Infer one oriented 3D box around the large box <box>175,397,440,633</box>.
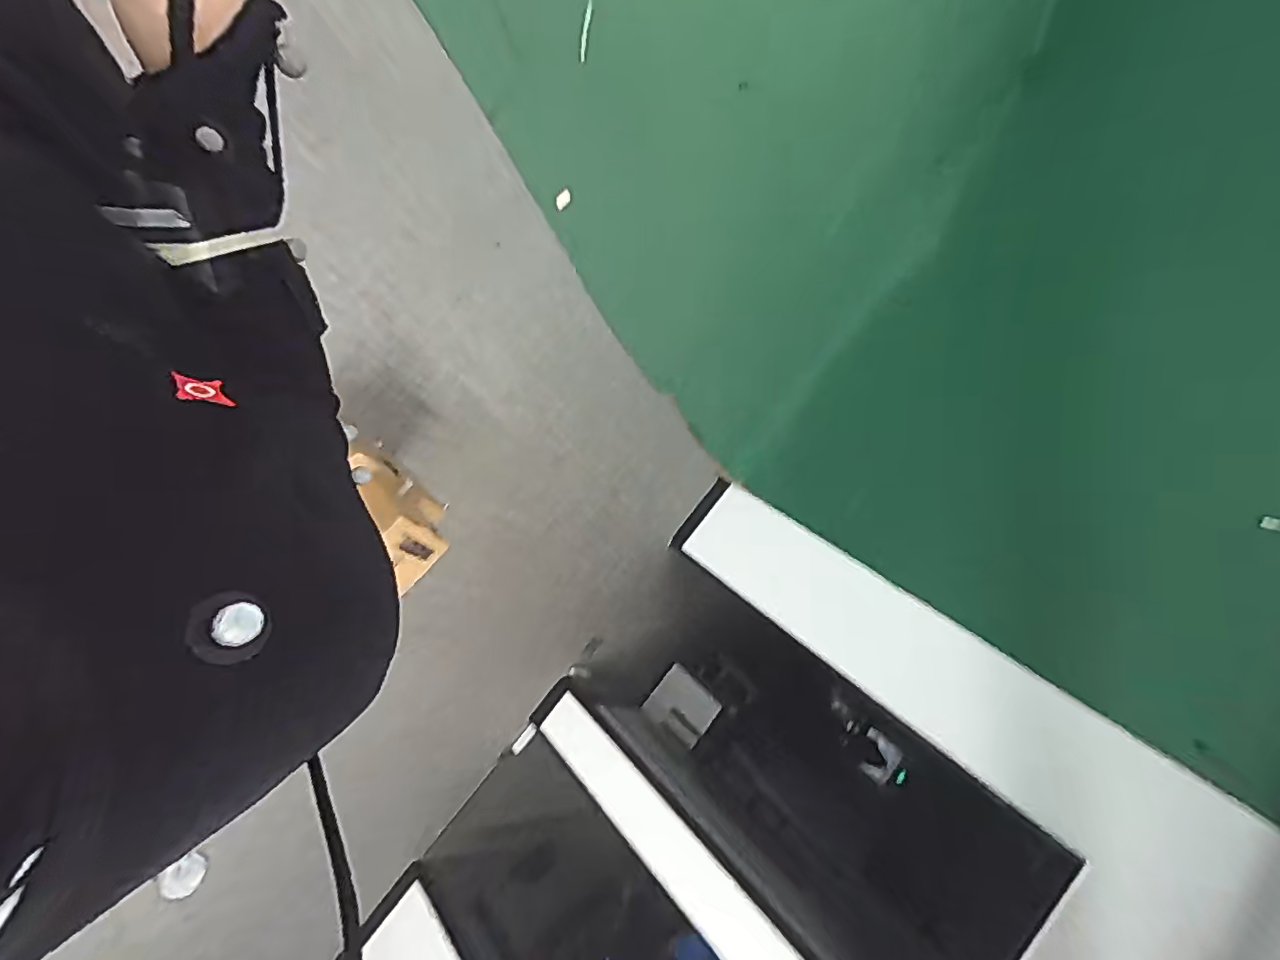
[{"bbox_3d":[-0.782,0.084,1.299,0.408,0.320,0.320,-47,146,-9],"label":"large box"}]
